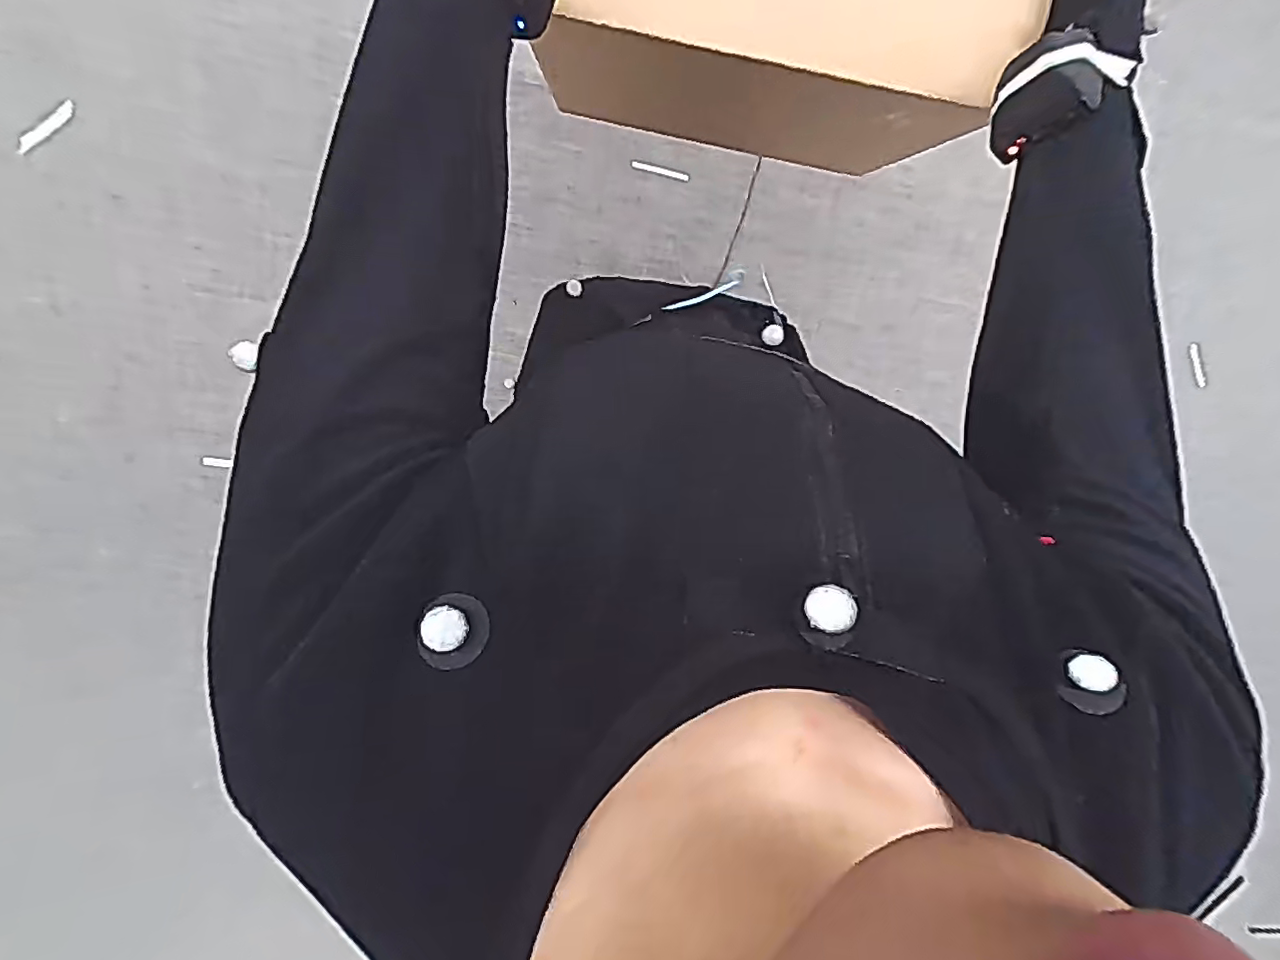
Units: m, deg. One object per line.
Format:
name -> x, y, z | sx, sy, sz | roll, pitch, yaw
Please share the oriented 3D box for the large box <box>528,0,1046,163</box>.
large box -> 0.125, -0.528, 0.505 | 0.408, 0.320, 0.320 | 9, 113, -5
